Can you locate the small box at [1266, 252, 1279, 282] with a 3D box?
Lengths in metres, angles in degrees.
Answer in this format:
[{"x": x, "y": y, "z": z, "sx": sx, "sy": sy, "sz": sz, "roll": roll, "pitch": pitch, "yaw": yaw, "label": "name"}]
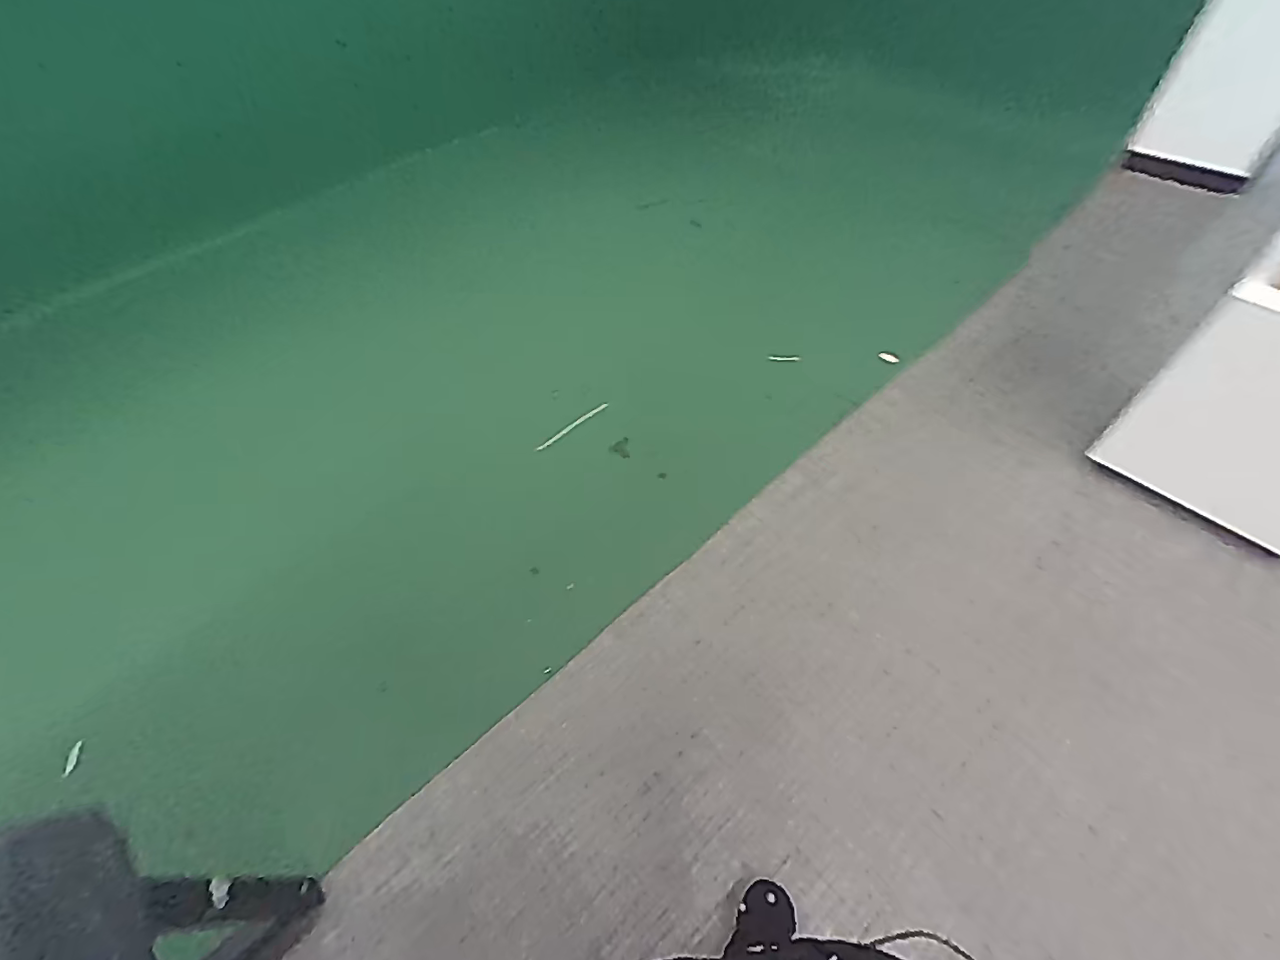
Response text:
[{"x": 1.453, "y": -0.484, "z": 1.097, "sx": 0.179, "sy": 0.176, "sz": 0.168, "roll": -40, "pitch": 60, "yaw": -22, "label": "small box"}]
